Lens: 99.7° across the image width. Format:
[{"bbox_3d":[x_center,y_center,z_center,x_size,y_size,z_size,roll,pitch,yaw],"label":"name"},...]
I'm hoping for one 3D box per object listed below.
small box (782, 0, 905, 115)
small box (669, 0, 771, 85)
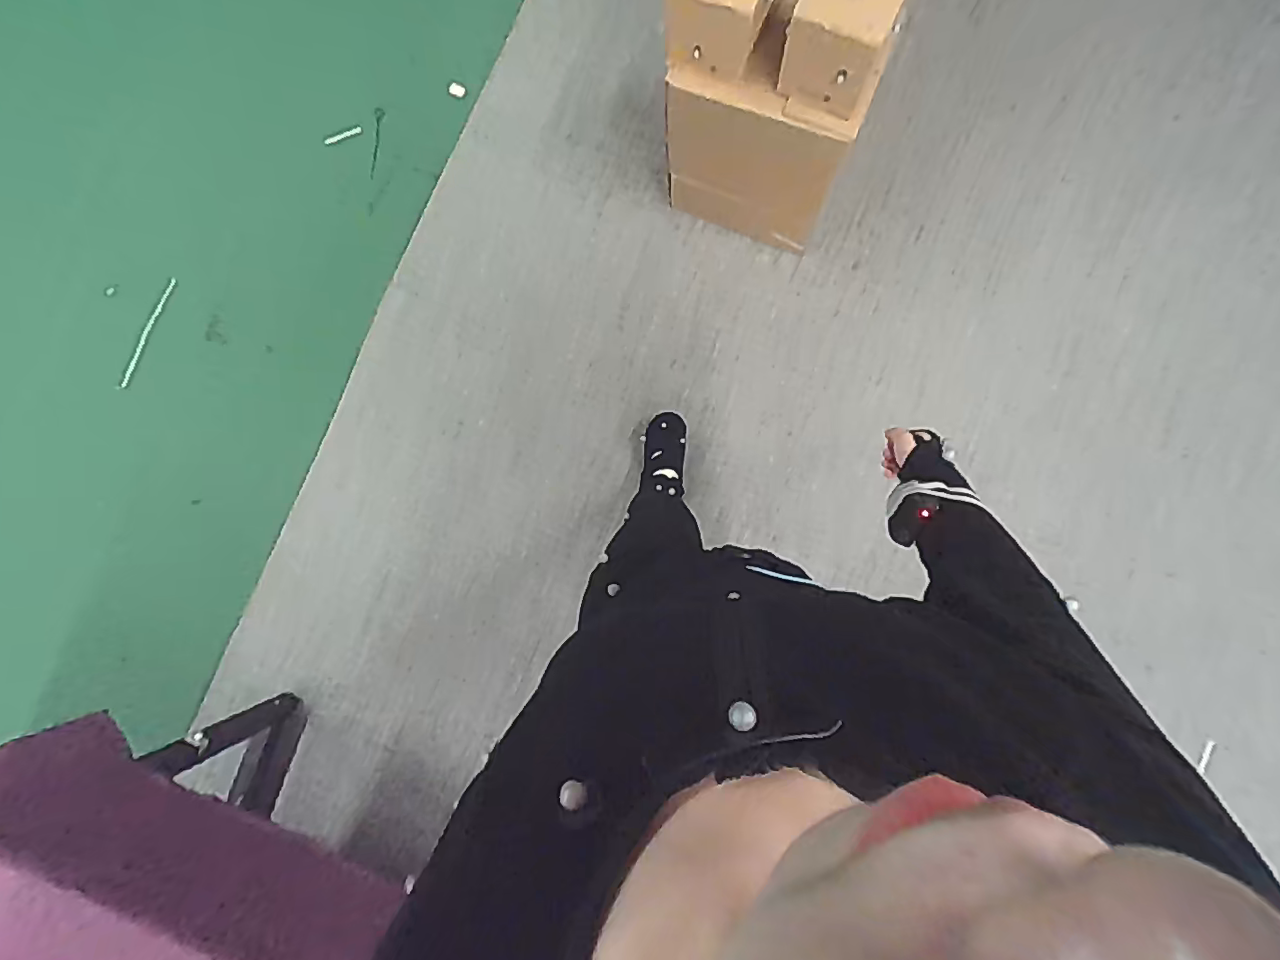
[{"bbox_3d":[0.378,-0.834,1.005,0.168,0.176,0.179,26,87,6],"label":"small box"},{"bbox_3d":[0.156,-0.914,1.029,0.168,0.176,0.179,22,89,4],"label":"small box"}]
